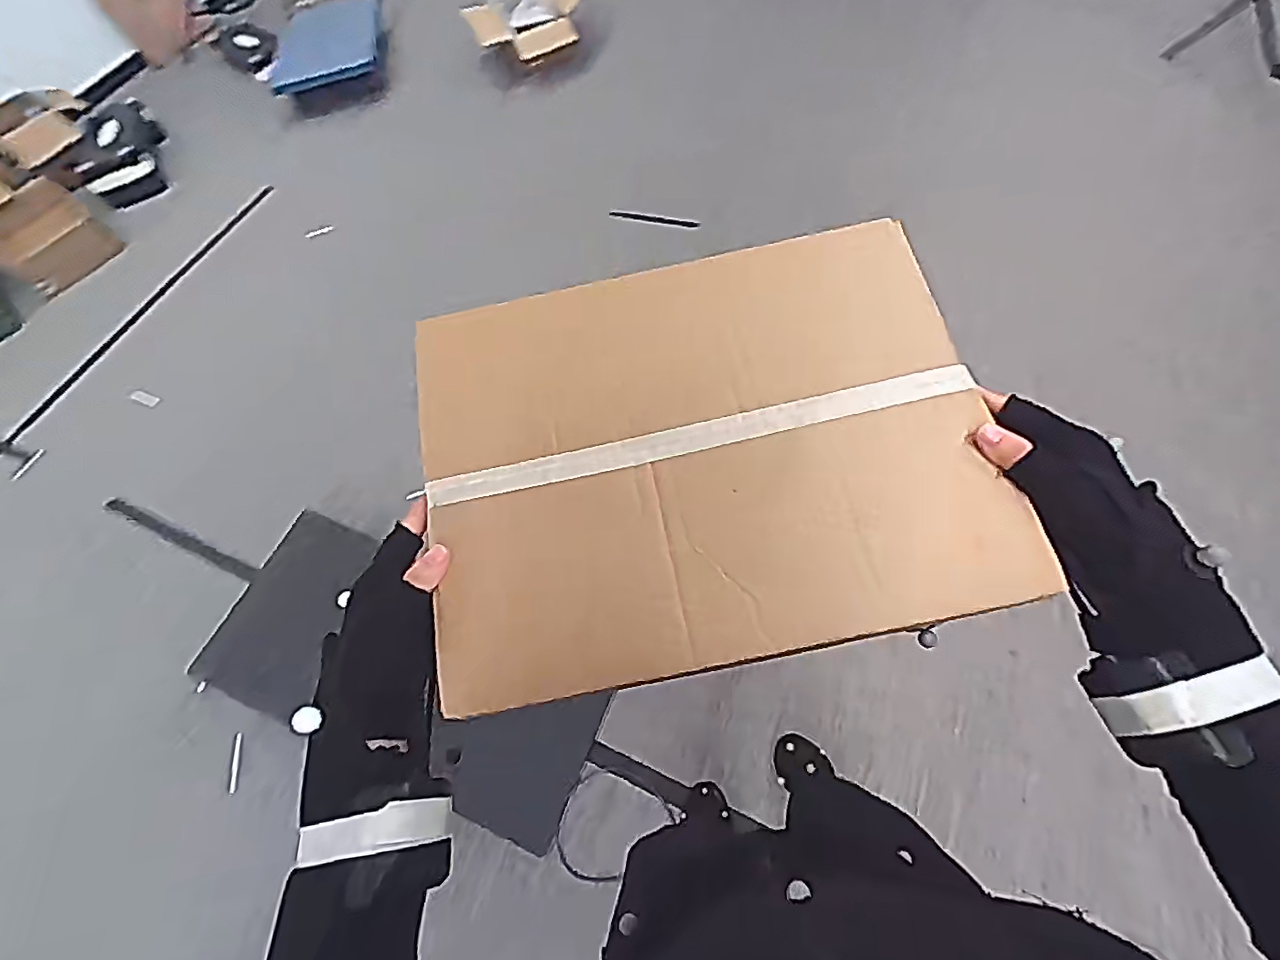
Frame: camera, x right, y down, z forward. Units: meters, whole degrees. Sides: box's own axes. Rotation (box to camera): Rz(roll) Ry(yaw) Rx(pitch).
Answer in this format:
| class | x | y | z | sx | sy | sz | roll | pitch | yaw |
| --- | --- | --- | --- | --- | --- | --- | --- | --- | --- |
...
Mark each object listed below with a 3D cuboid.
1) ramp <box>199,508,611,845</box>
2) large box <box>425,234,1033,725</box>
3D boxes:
| class | x | y | z | sx | sy | sz | roll | pitch | yaw |
| --- | --- | --- | --- | --- | --- | --- | --- | --- | --- |
| ramp | -0.576 | 0.464 | 1.408 | 0.991 | 0.206 | 0.509 | 16 | 65 | 16 |
| large box | 0.055 | 0.024 | 0.551 | 0.408 | 0.320 | 0.320 | -13 | 70 | 1 |
